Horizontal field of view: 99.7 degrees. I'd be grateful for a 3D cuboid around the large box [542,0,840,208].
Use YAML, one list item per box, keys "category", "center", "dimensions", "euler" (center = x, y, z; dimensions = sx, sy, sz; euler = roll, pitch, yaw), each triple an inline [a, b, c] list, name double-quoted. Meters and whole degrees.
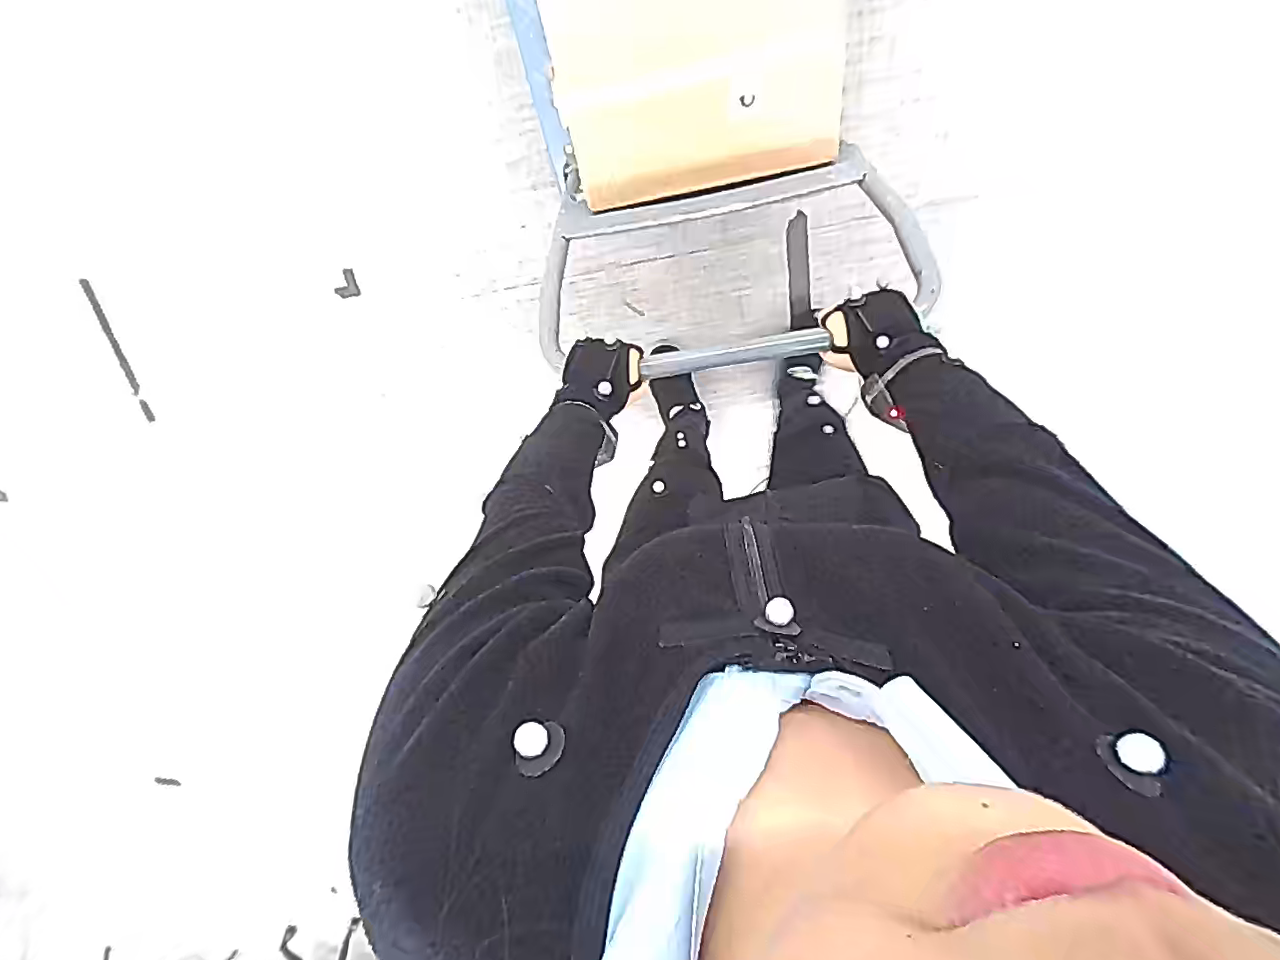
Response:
- category: "large box"
  center: [0.084, -0.700, 0.893]
  dimensions: [0.408, 0.320, 0.320]
  euler: [-9, 133, 8]
